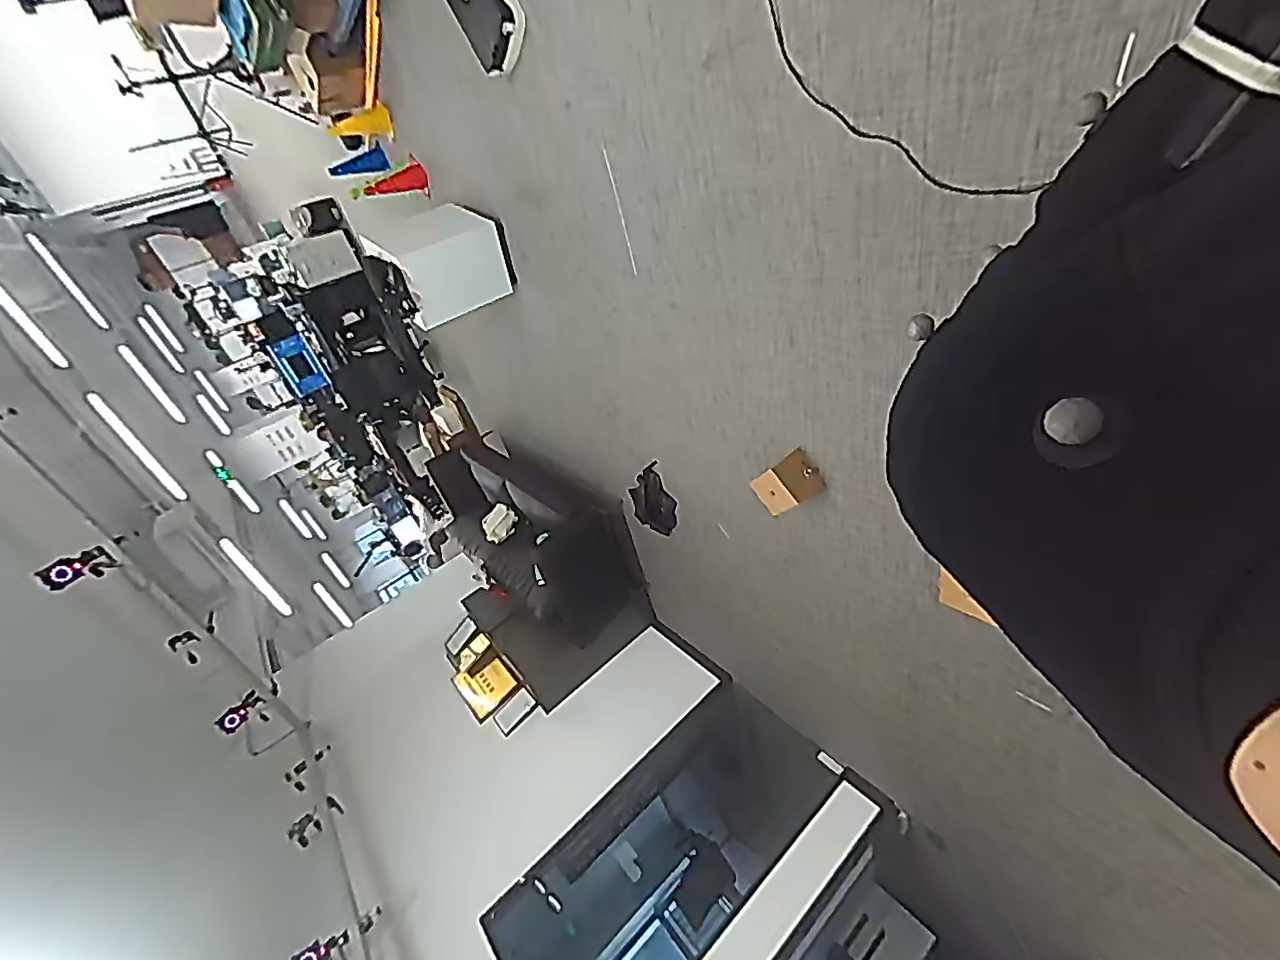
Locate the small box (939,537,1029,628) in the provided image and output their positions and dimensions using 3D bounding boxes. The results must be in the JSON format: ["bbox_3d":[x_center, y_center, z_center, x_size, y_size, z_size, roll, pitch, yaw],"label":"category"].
[{"bbox_3d":[1.015,0.295,1.599,0.179,0.176,0.168,25,142,49],"label":"small box"}]

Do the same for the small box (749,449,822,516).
[{"bbox_3d":[0.559,0.010,2.073,0.168,0.176,0.179,52,154,5],"label":"small box"}]
